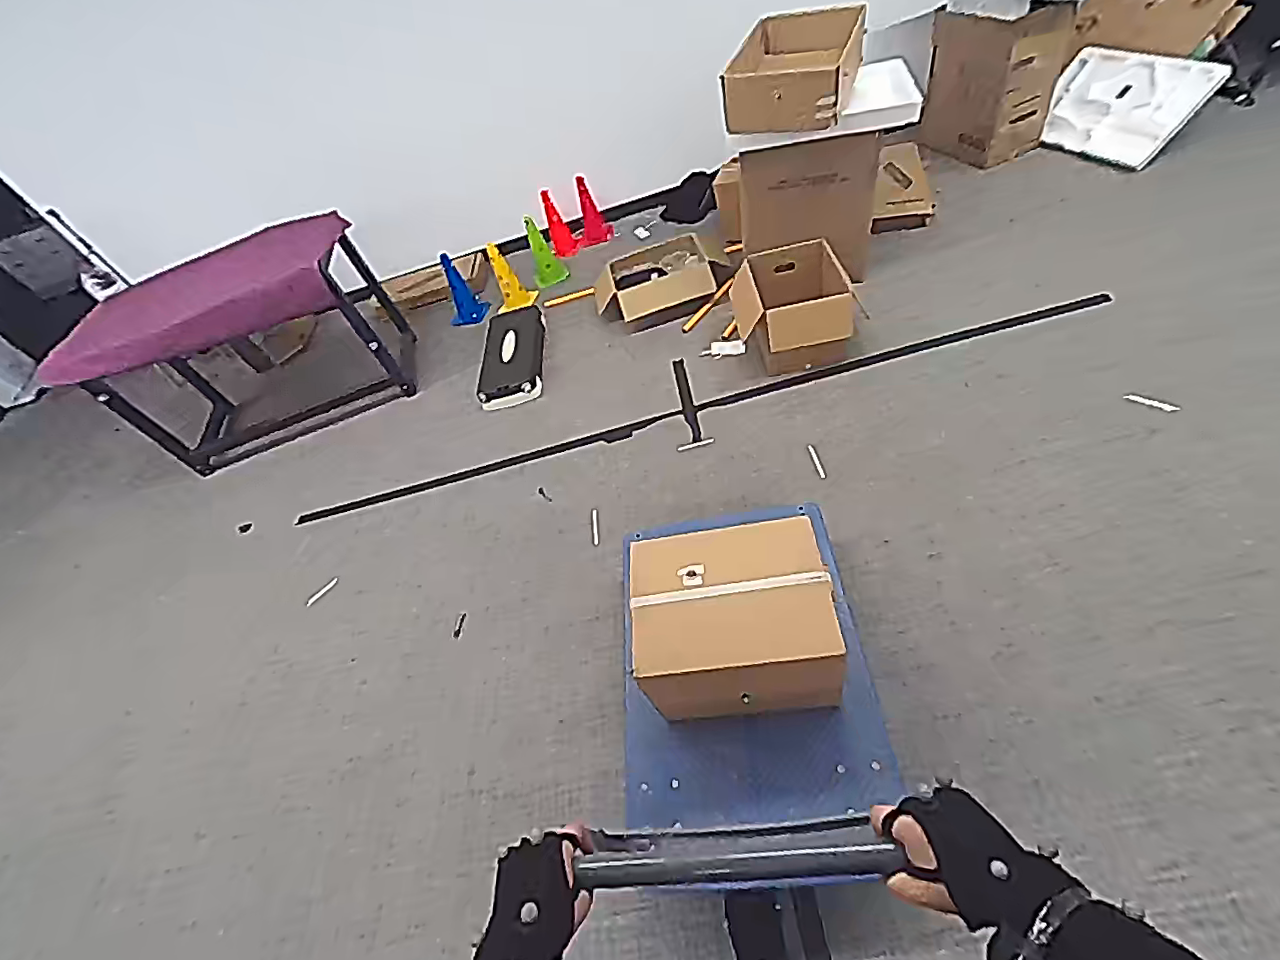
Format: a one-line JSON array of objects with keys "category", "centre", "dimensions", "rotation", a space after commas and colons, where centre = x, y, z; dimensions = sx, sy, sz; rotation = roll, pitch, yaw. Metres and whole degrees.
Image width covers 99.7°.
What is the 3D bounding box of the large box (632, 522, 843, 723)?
[{"category": "large box", "centre": [0.218, 0.338, 1.238], "dimensions": [0.408, 0.320, 0.320], "rotation": [-11, 49, 11]}]
